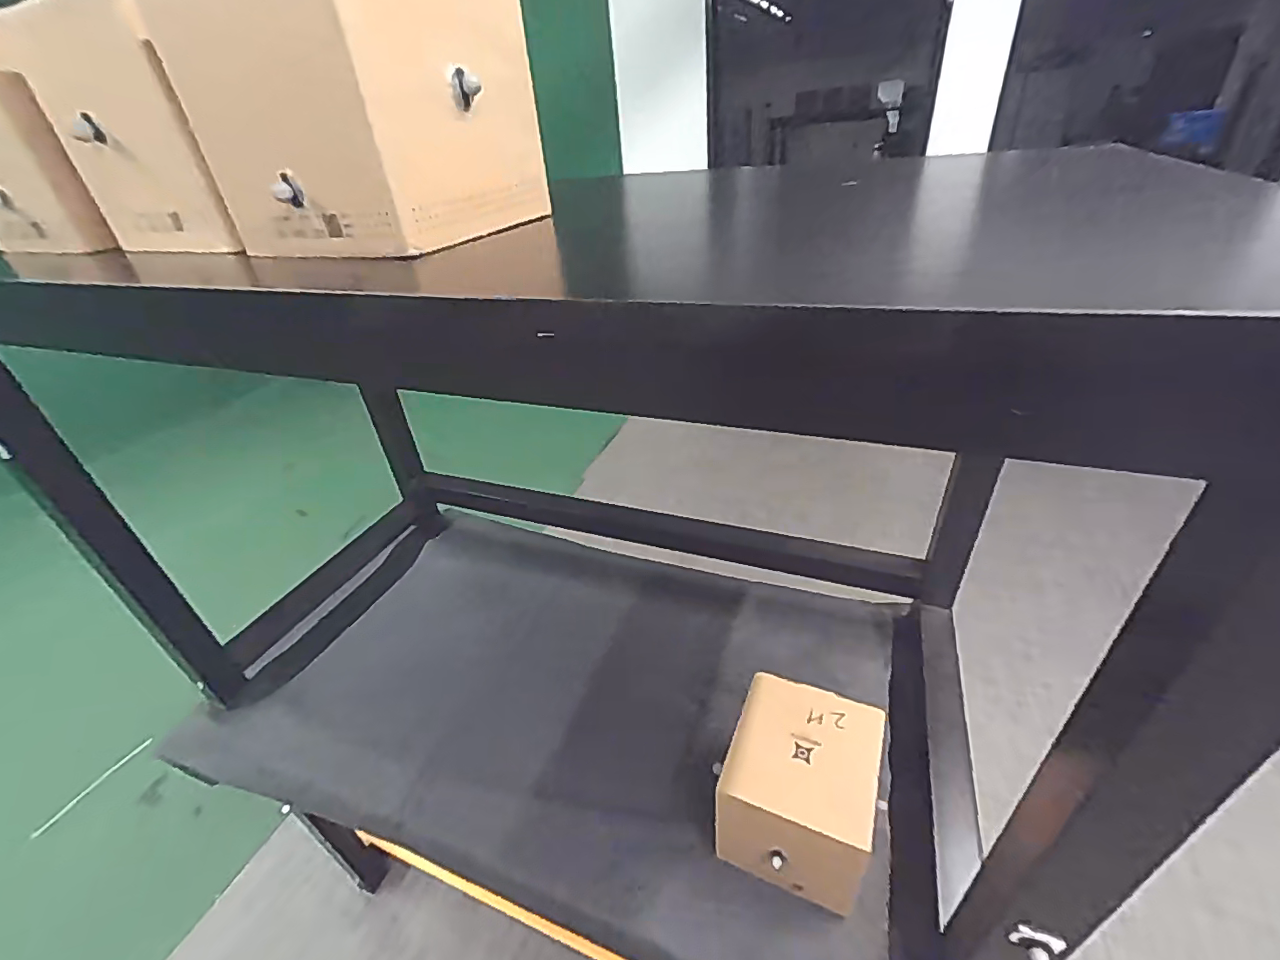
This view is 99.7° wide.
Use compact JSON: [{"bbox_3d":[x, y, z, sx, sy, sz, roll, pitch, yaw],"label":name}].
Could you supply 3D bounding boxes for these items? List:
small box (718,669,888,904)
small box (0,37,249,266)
[{"bbox_3d":[0.205,0.383,0.686,0.168,0.176,0.179,12,37,23],"label":"small box"},{"bbox_3d":[-0.545,-0.328,0.549,0.168,0.176,0.179,10,37,22],"label":"small box"}]
